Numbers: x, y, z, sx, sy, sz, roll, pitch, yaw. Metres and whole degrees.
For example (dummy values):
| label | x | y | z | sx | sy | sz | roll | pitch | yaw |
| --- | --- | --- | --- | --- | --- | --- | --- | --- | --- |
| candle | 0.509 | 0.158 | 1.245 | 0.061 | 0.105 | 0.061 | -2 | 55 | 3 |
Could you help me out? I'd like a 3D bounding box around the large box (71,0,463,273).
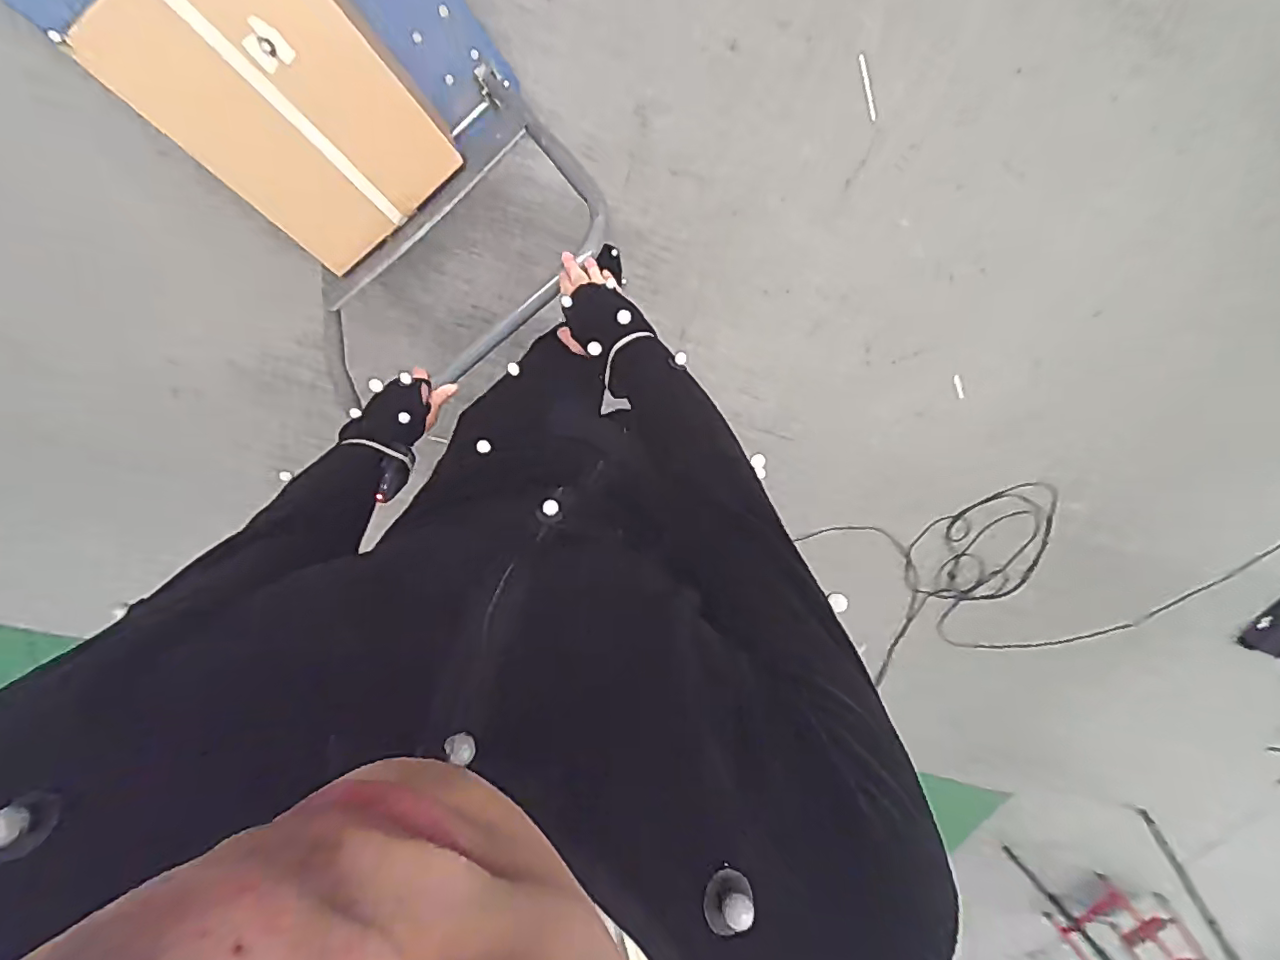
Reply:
| label | x | y | z | sx | sy | sz | roll | pitch | yaw |
| --- | --- | --- | --- | --- | --- | --- | --- | --- | --- |
| large box | -0.570 | -0.651 | 0.917 | 0.320 | 0.320 | 0.408 | -37 | 137 | 9 |
